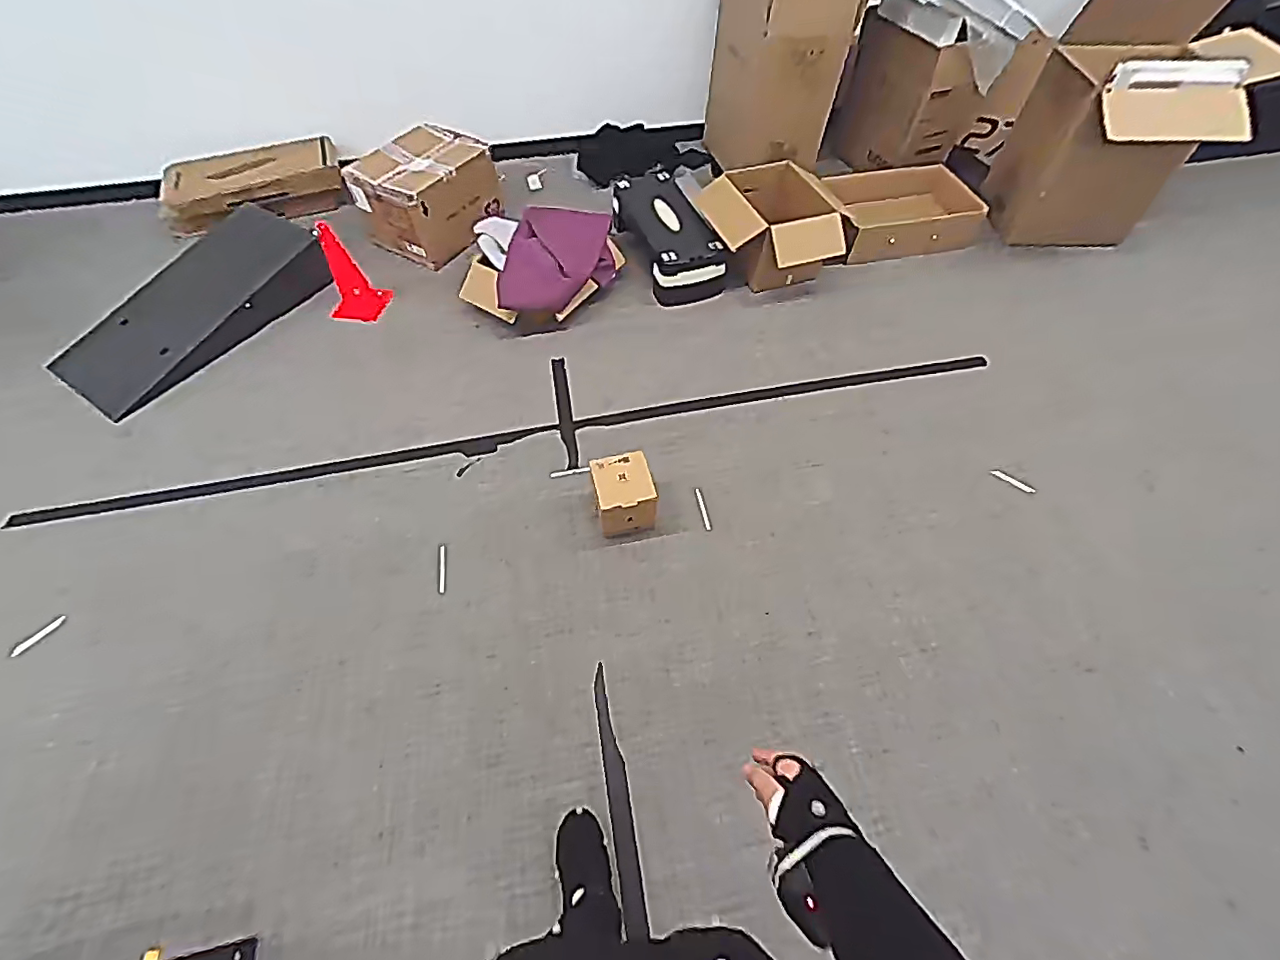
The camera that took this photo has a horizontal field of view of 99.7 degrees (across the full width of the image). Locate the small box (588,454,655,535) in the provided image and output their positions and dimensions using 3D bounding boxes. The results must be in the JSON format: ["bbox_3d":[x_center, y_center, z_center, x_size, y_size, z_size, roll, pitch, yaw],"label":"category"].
[{"bbox_3d":[-0.053,0.051,1.620,0.168,0.176,0.179,-12,58,-8],"label":"small box"}]
